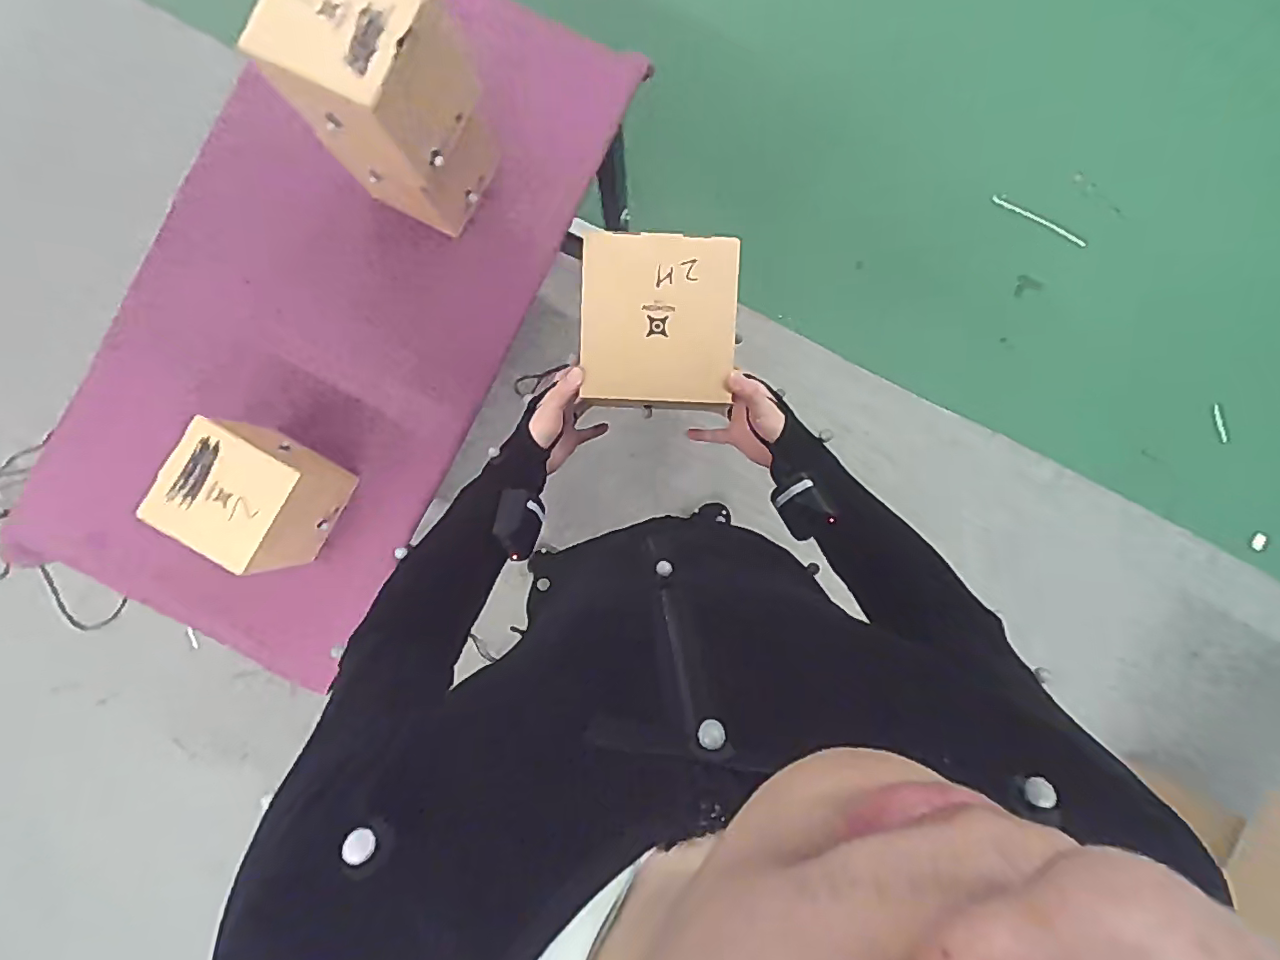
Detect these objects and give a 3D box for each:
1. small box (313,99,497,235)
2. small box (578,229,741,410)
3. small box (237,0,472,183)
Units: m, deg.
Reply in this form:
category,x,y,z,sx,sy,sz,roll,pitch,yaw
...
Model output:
category,x,y,z,sx,sy,sz,roll,pitch,yaw
small box,-0.358,-0.525,0.856,0.179,0.176,0.168,28,90,2
small box,0.019,-0.178,0.651,0.168,0.176,0.179,3,94,-1
small box,-0.345,-0.520,0.692,0.179,0.176,0.168,26,90,3
